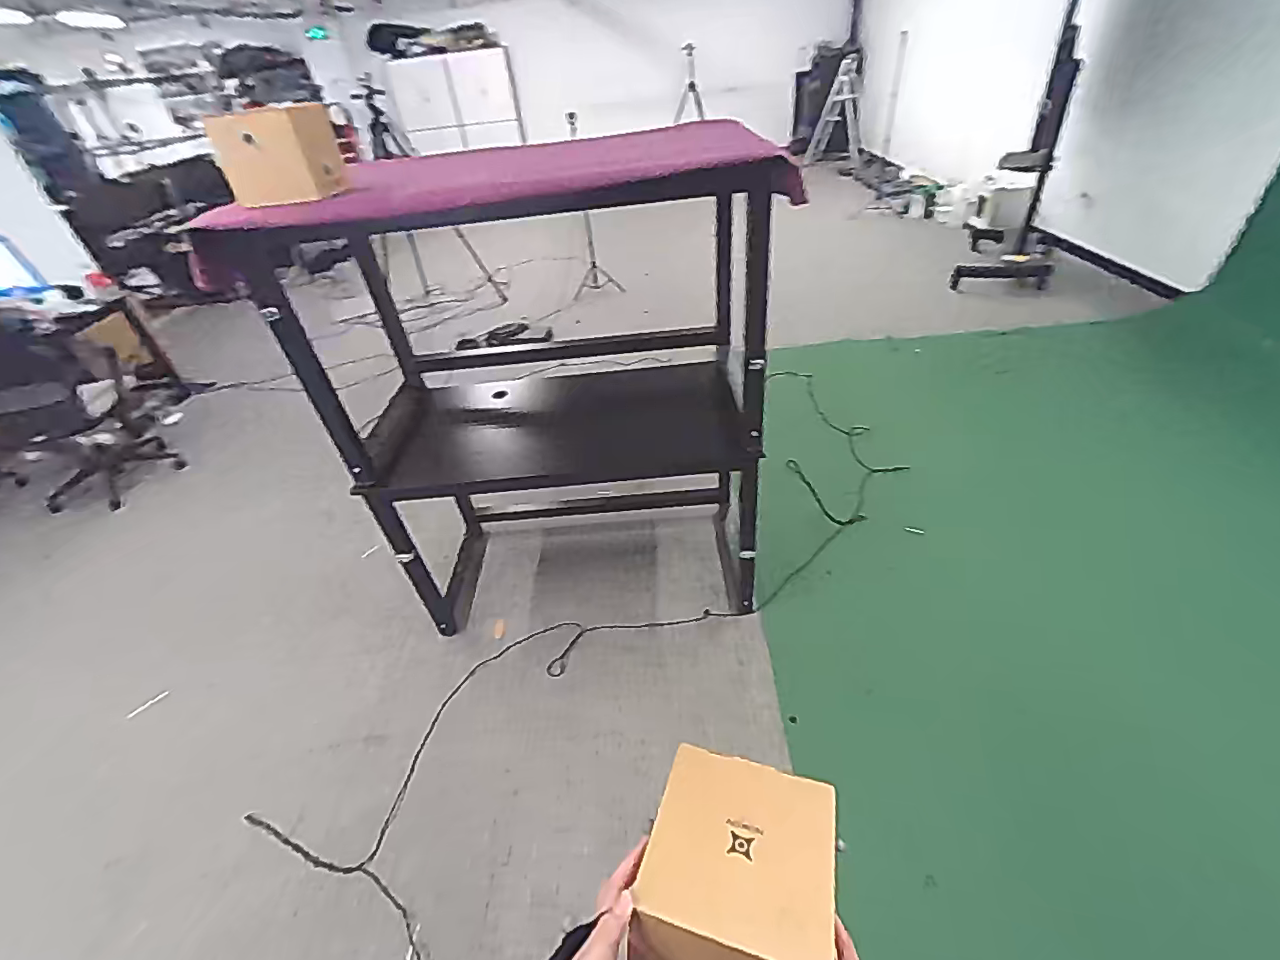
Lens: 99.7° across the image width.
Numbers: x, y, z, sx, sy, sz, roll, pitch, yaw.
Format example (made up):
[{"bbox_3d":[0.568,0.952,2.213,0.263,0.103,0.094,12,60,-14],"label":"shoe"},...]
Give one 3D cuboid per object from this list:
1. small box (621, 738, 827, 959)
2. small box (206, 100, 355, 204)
[{"bbox_3d":[0.088,0.402,0.534,0.168,0.176,0.179,8,24,16],"label":"small box"},{"bbox_3d":[-0.754,-0.701,1.157,0.179,0.176,0.168,-4,38,3],"label":"small box"}]
